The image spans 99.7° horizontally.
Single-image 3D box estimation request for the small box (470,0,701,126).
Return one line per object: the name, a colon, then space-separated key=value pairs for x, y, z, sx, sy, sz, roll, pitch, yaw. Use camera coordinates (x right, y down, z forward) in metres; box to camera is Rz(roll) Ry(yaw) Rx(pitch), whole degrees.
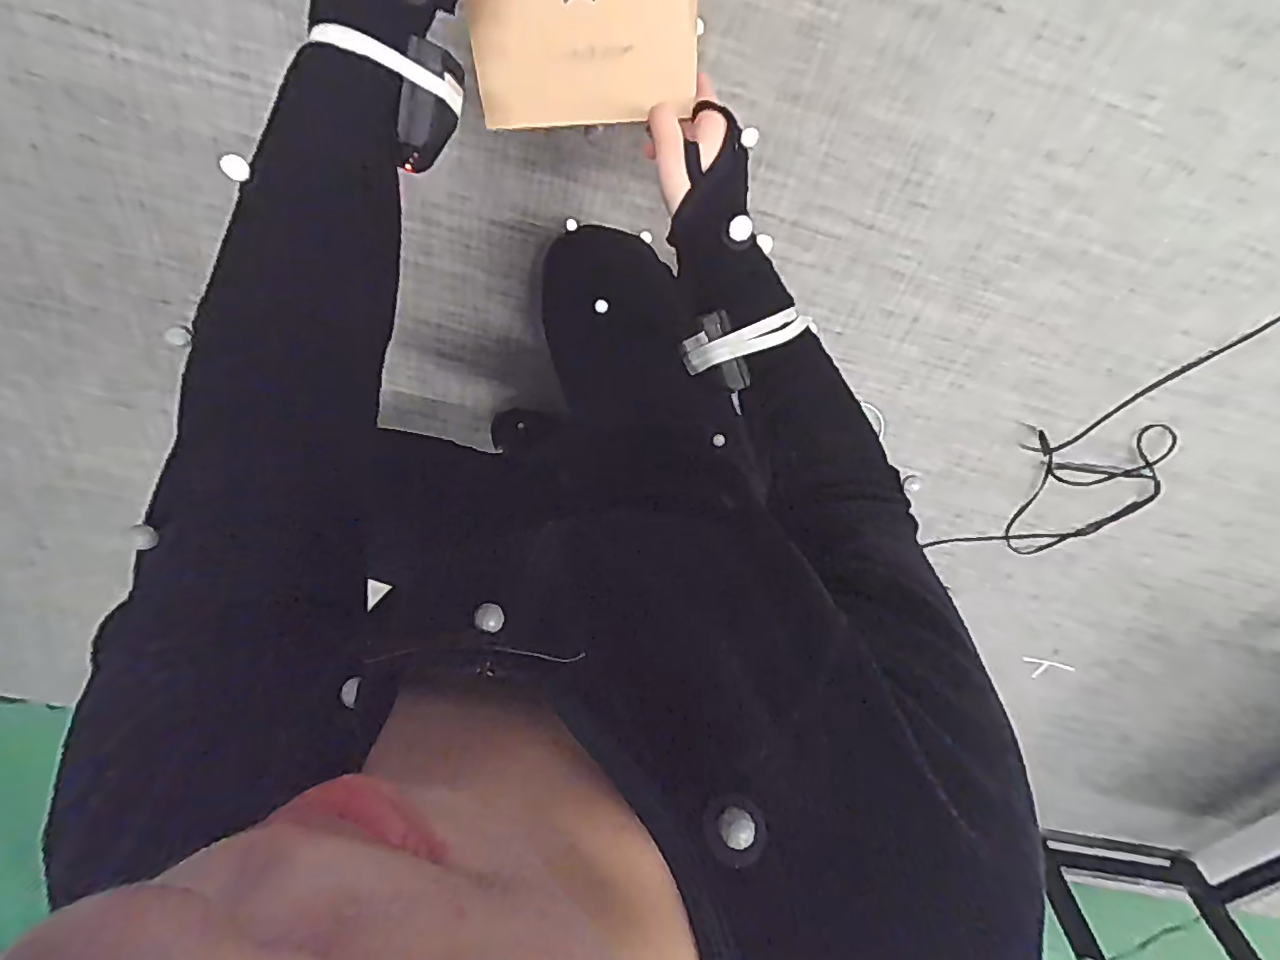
small box: x=-0.035 y=-0.394 z=0.437 sx=0.168 sy=0.176 sz=0.179 roll=1 pitch=125 yaw=4
